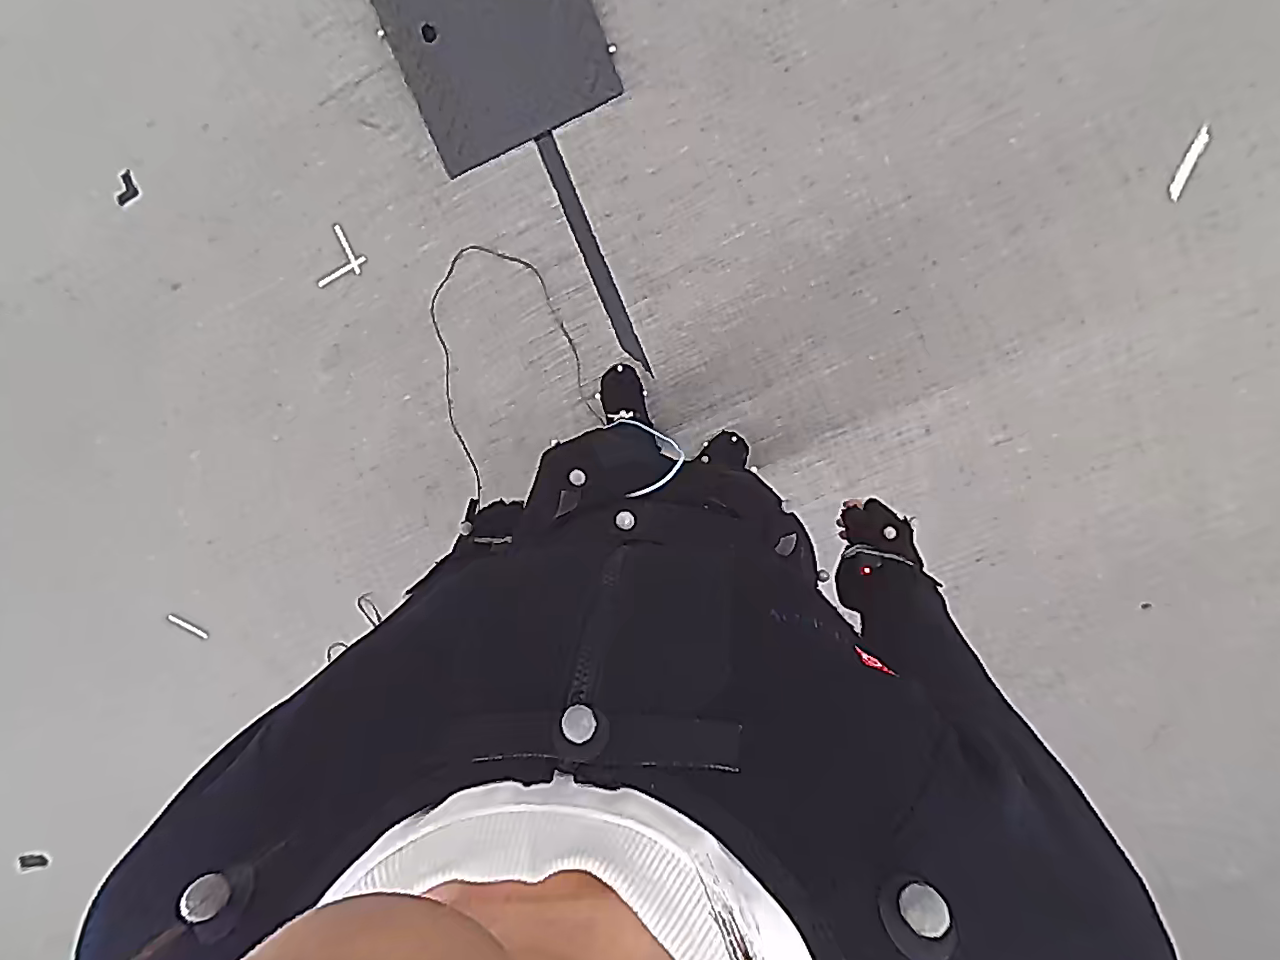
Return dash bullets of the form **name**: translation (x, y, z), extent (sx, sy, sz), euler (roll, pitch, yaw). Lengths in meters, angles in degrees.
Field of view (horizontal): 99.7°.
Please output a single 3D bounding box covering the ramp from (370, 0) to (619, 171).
- **ramp**: translation (-0.452, -1.315, 1.221), extent (0.509, 0.206, 0.991), euler (-22, 96, 8)
